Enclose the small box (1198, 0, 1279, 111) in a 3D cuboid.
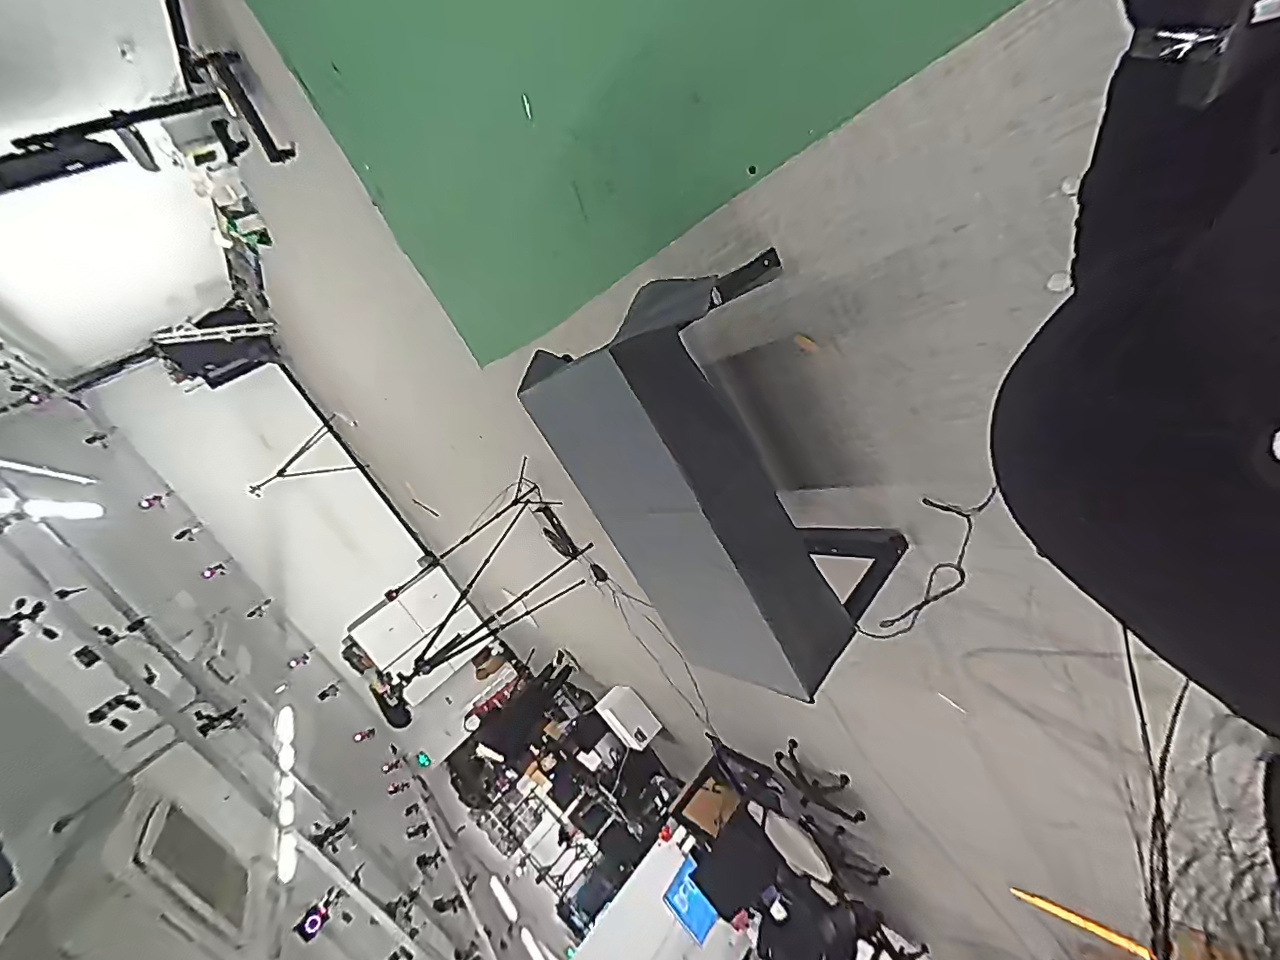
[{"bbox_3d":[0.978,-0.653,0.778,0.168,0.176,0.179,103,147,-53],"label":"small box"}]
